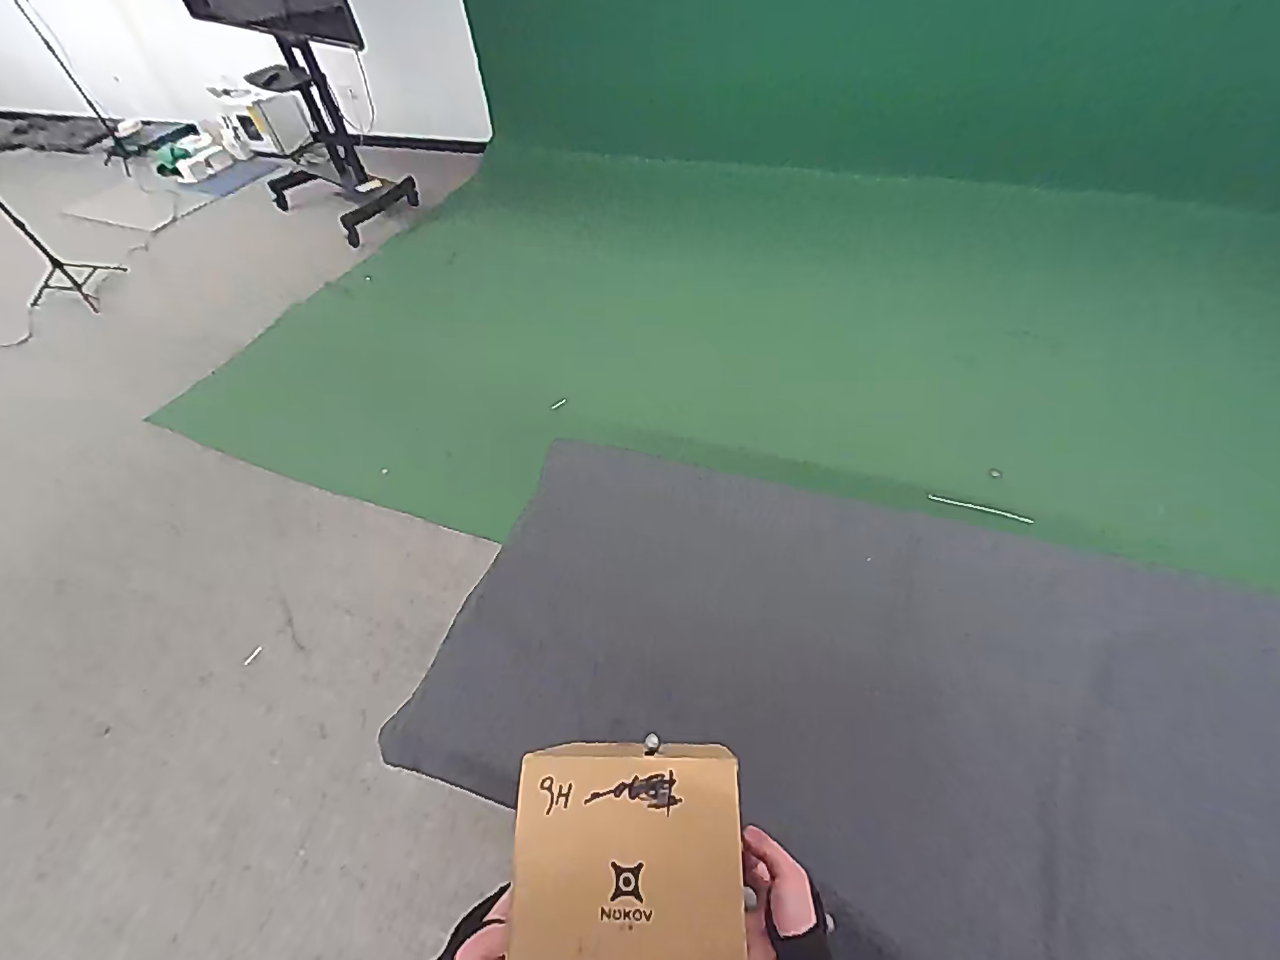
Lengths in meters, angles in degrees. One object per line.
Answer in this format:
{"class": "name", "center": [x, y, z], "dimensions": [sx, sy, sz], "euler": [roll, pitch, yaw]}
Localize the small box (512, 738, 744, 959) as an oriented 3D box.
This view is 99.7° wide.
{"class": "small box", "center": [-0.001, 0.327, 0.462], "dimensions": [0.168, 0.176, 0.179], "euler": [-1, 68, 4]}
